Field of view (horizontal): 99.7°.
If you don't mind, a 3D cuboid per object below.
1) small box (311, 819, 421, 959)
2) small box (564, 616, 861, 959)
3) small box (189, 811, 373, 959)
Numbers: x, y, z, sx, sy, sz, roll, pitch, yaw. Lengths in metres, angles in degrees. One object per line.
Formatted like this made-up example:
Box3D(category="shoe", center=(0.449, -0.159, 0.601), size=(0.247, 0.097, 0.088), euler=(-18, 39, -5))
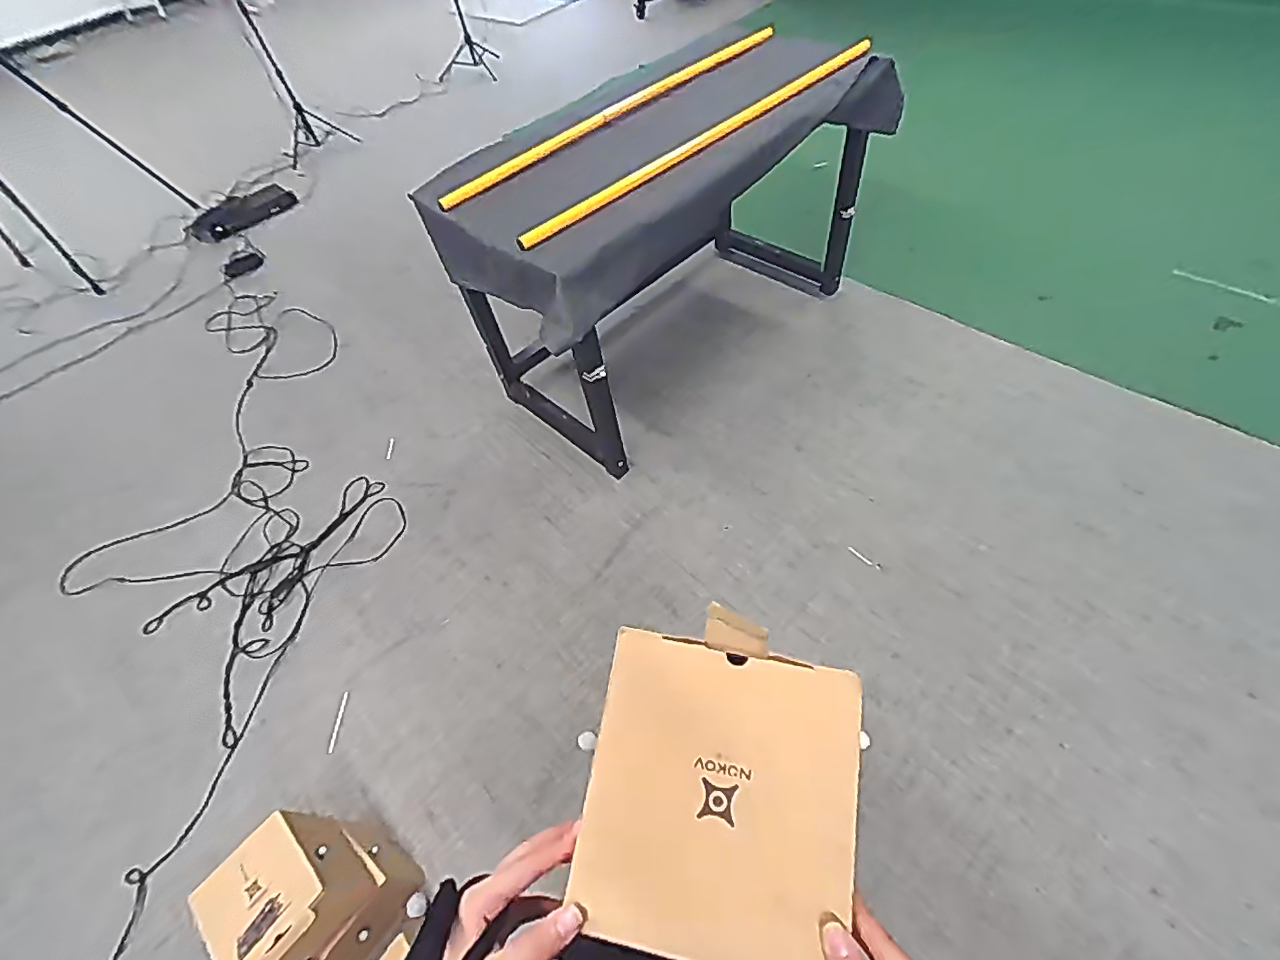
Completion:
Box3D(category="small box", center=(-0.568, 0.803, 1.053), size=(0.168, 0.176, 0.179), euler=(27, 62, 25))
Box3D(category="small box", center=(0.057, 0.217, 0.411), size=(0.168, 0.176, 0.179), euler=(8, 67, 9))
Box3D(category="small box", center=(-0.600, 0.705, 0.923), size=(0.179, 0.176, 0.168), euler=(32, 64, 28))
